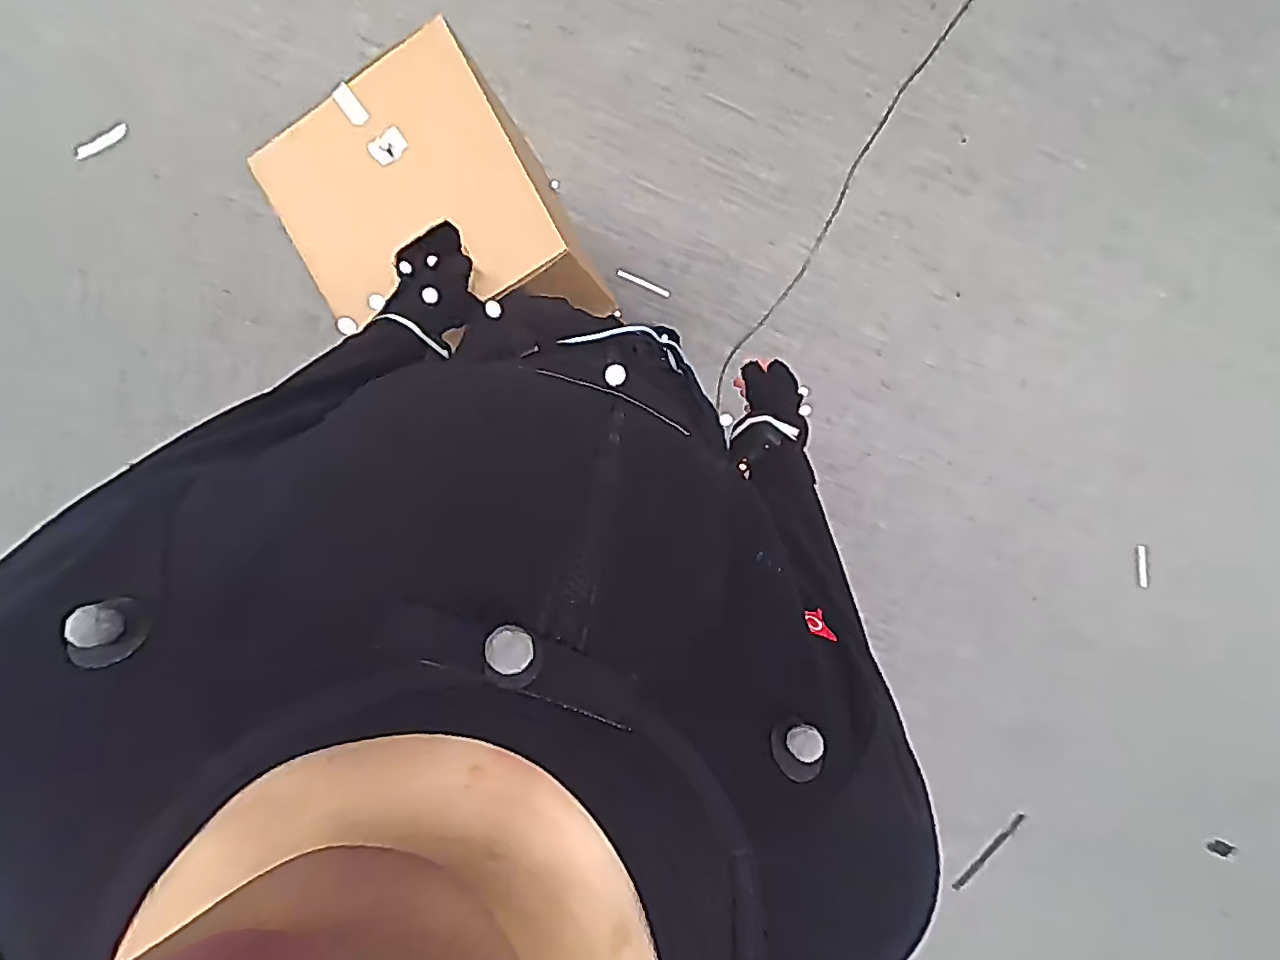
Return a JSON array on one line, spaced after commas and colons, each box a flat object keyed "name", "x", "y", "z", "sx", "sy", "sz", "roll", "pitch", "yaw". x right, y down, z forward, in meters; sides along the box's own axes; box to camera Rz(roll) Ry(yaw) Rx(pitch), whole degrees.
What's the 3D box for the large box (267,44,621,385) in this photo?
[{"name": "large box", "x": -0.267, "y": -0.364, "z": 0.877, "sx": 0.320, "sy": 0.408, "sz": 0.320, "roll": -28, "pitch": 95, "yaw": 10}]
